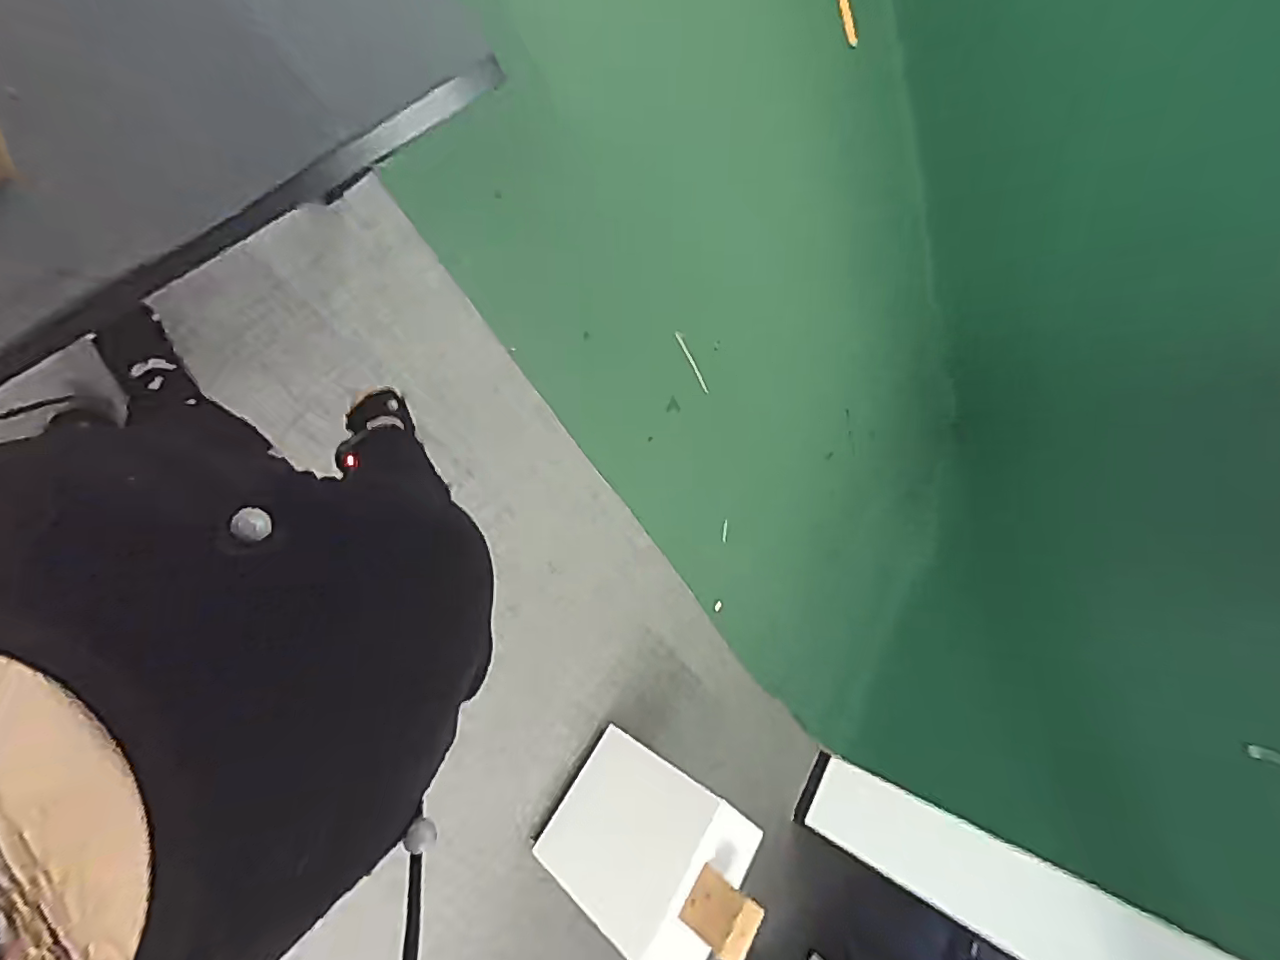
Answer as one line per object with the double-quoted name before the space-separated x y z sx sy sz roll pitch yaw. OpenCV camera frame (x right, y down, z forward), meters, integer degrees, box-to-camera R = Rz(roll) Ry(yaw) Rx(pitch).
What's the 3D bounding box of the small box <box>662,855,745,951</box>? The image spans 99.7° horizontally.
"small box" 0.200 1.328 1.705 0.168 0.176 0.179 -52 131 -25
